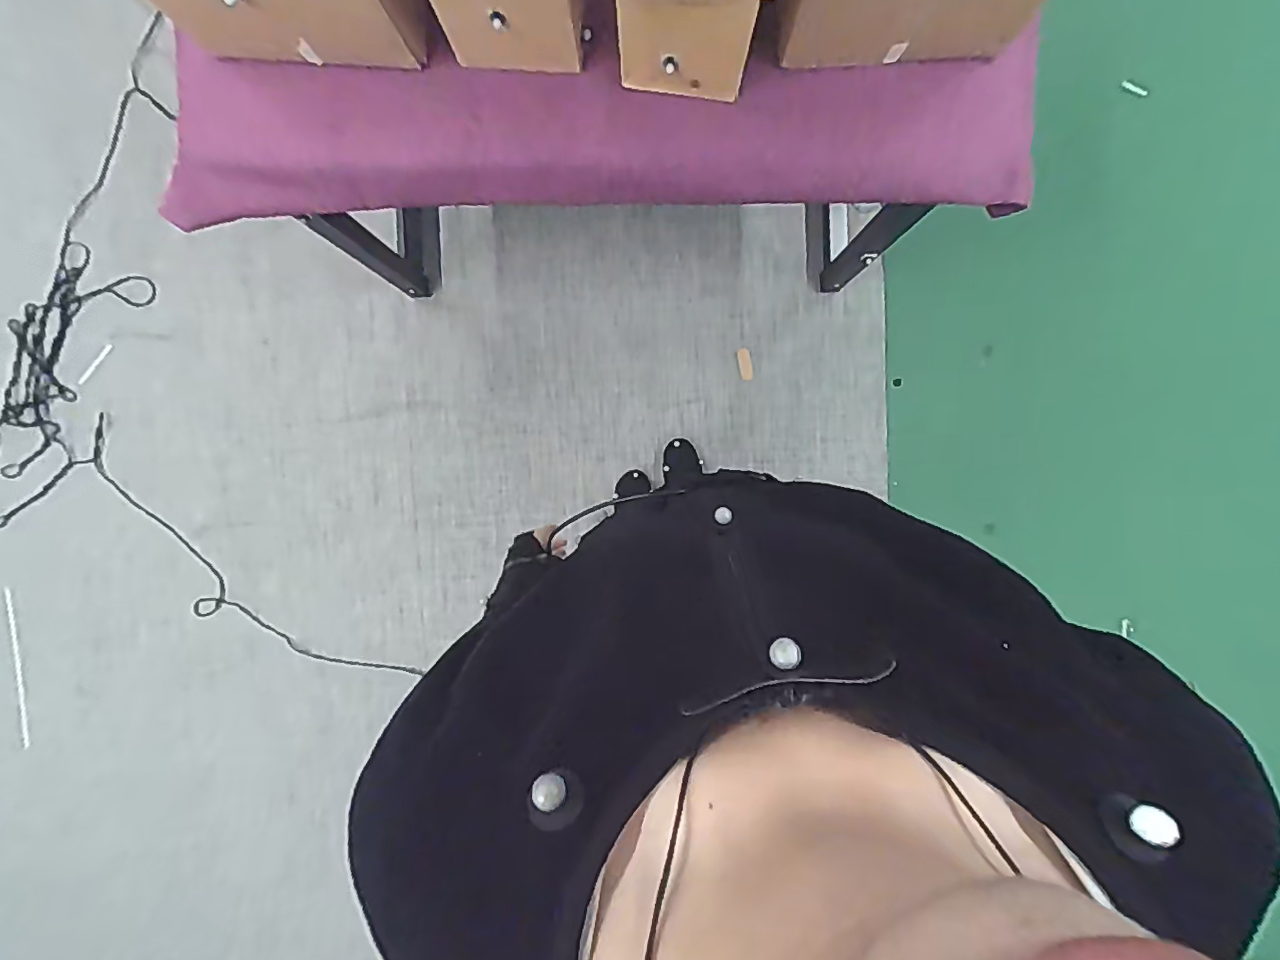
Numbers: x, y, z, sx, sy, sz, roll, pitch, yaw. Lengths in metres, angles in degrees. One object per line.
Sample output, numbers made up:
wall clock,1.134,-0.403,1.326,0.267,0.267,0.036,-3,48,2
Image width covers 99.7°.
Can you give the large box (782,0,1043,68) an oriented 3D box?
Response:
large box,0.339,-0.778,0.603,0.320,0.320,0.408,-2,93,3
